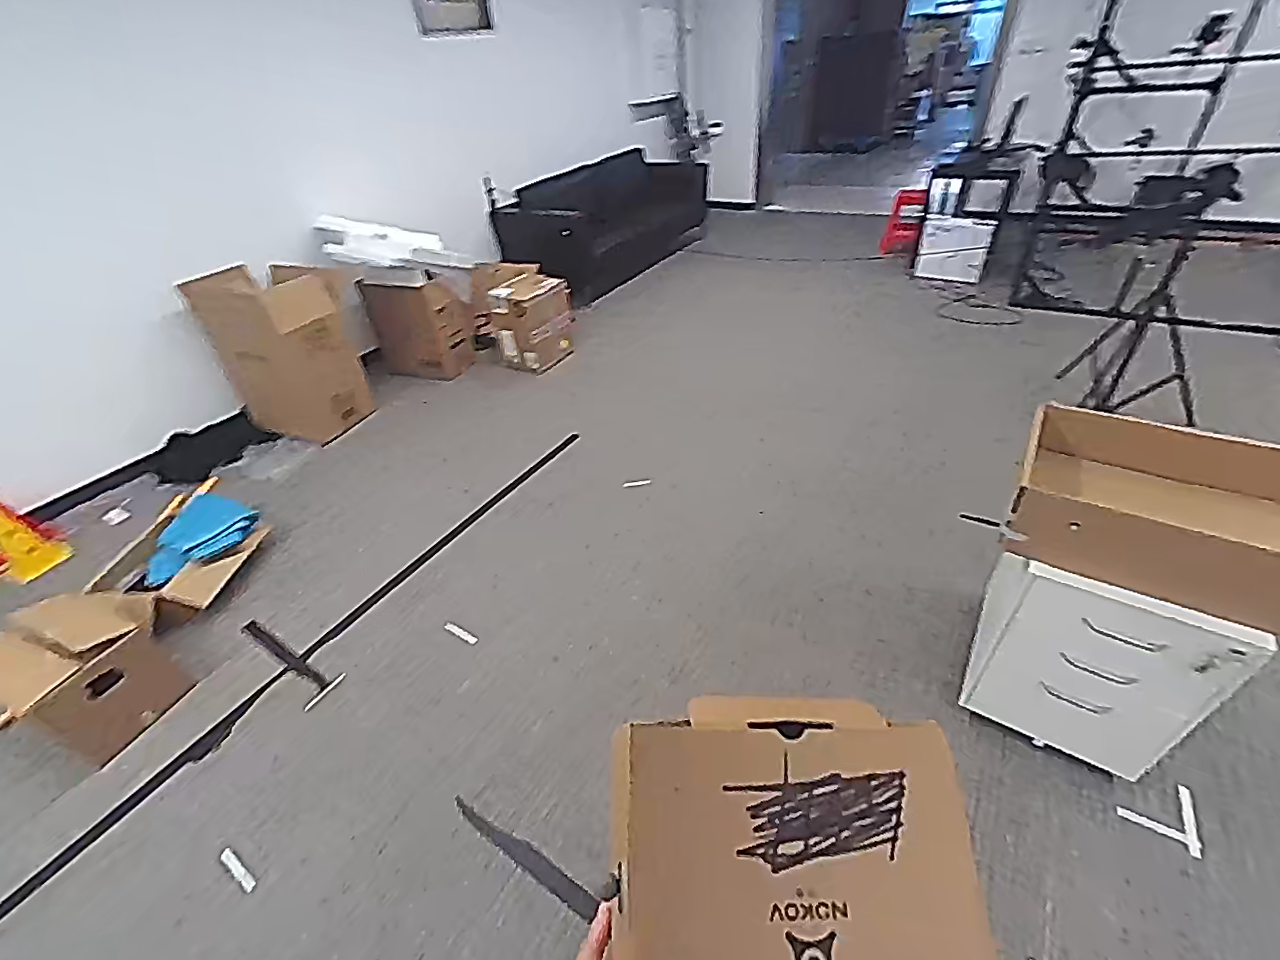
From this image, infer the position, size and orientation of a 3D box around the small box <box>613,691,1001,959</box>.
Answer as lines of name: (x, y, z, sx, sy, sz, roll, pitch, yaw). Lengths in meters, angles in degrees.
small box: (0.071, 0.226, 0.316, 0.168, 0.176, 0.179, 3, 64, -4)
